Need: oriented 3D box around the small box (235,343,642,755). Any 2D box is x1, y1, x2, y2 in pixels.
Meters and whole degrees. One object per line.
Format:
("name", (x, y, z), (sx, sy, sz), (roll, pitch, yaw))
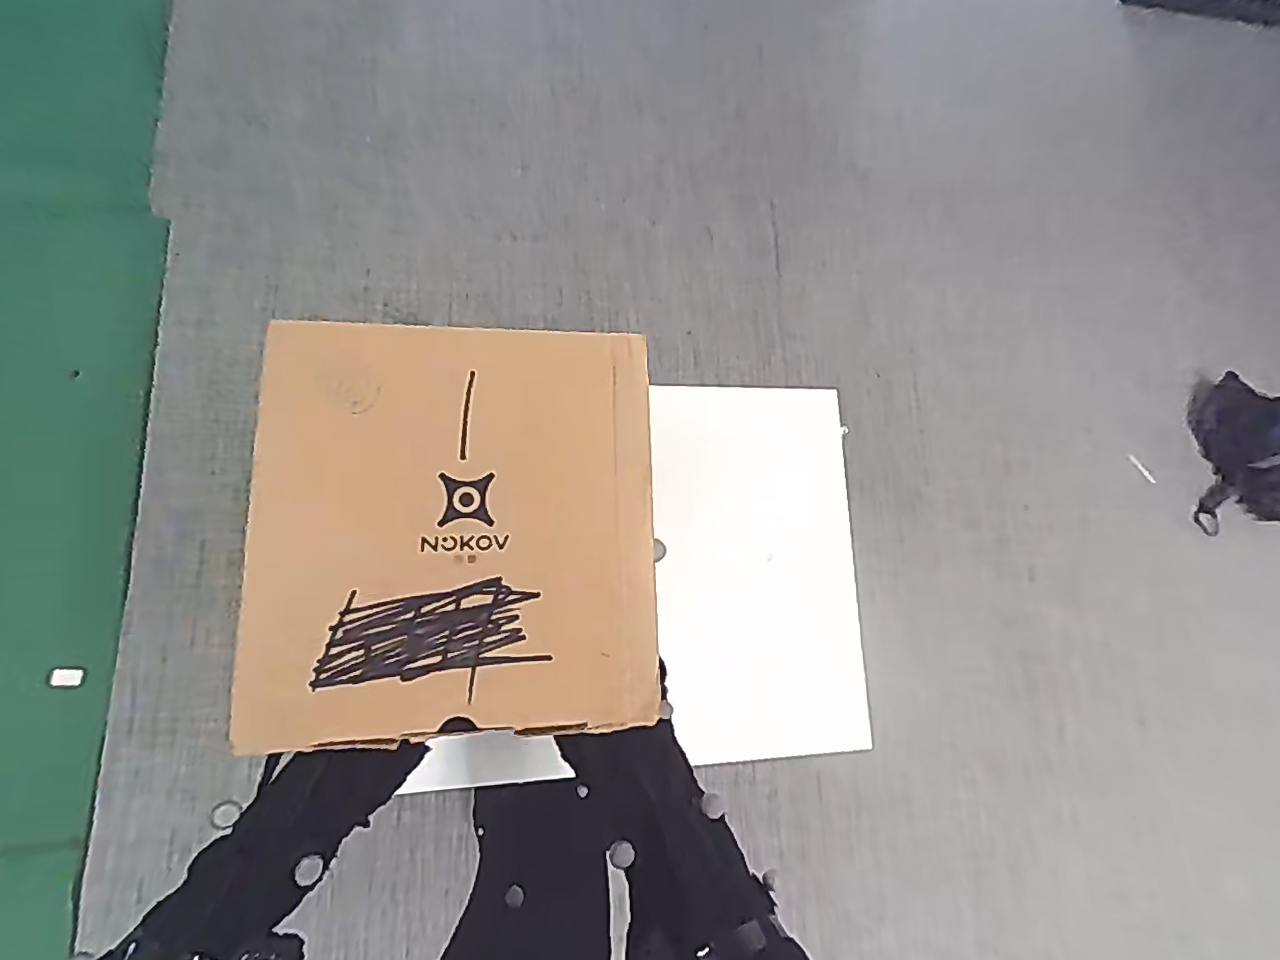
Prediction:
("small box", (-0.091, 0.039, 0.315), (0.168, 0.176, 0.179), (0, 78, -9))
